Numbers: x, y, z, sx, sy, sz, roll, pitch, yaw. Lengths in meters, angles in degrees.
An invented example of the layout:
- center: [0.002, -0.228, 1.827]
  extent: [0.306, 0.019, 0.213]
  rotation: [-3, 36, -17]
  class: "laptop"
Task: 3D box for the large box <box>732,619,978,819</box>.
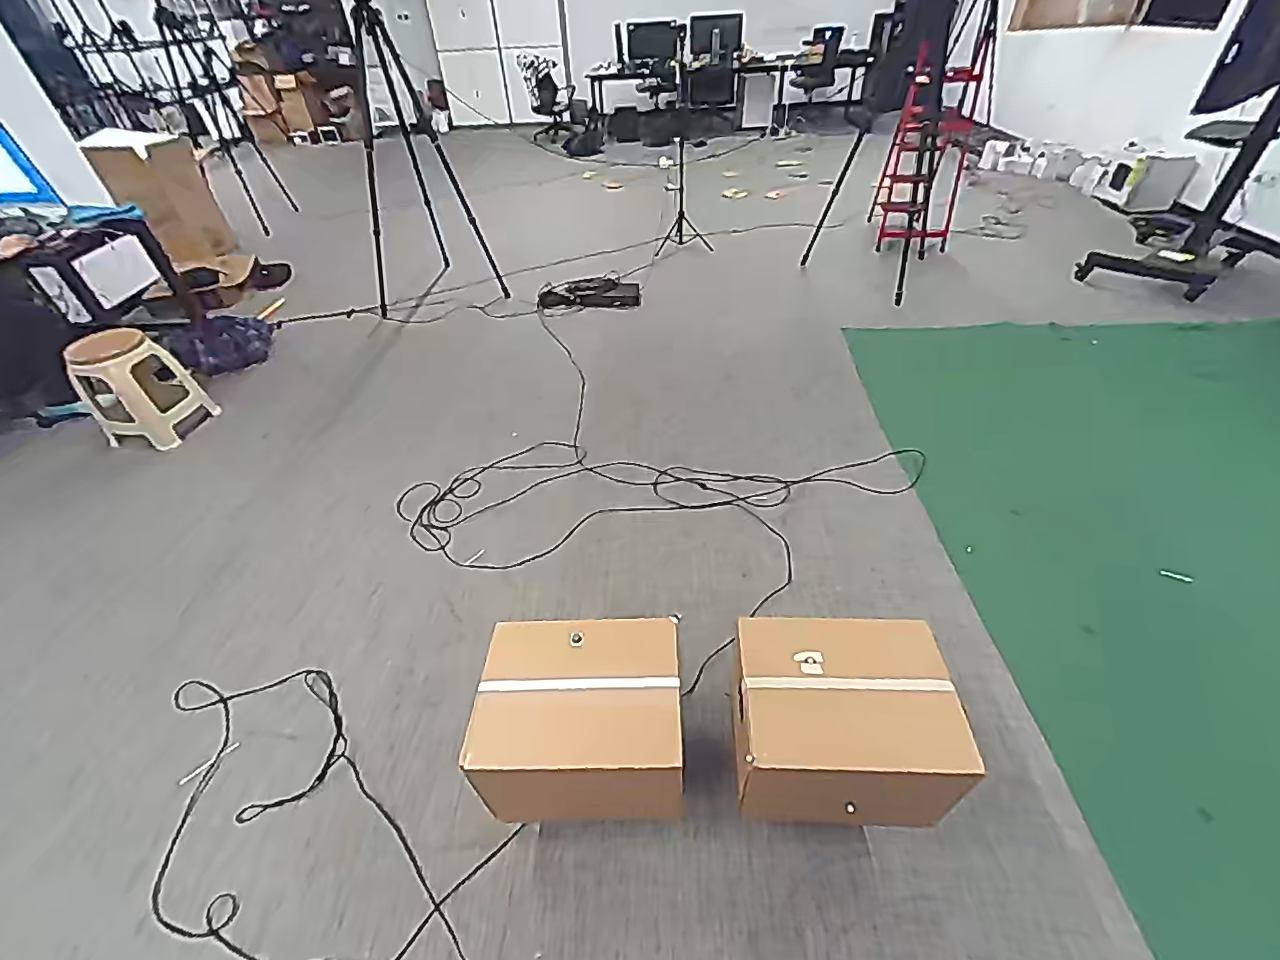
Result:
- center: [0.419, 0.520, 1.177]
  extent: [0.408, 0.320, 0.320]
  rotation: [-1, 42, 4]
  class: "large box"
